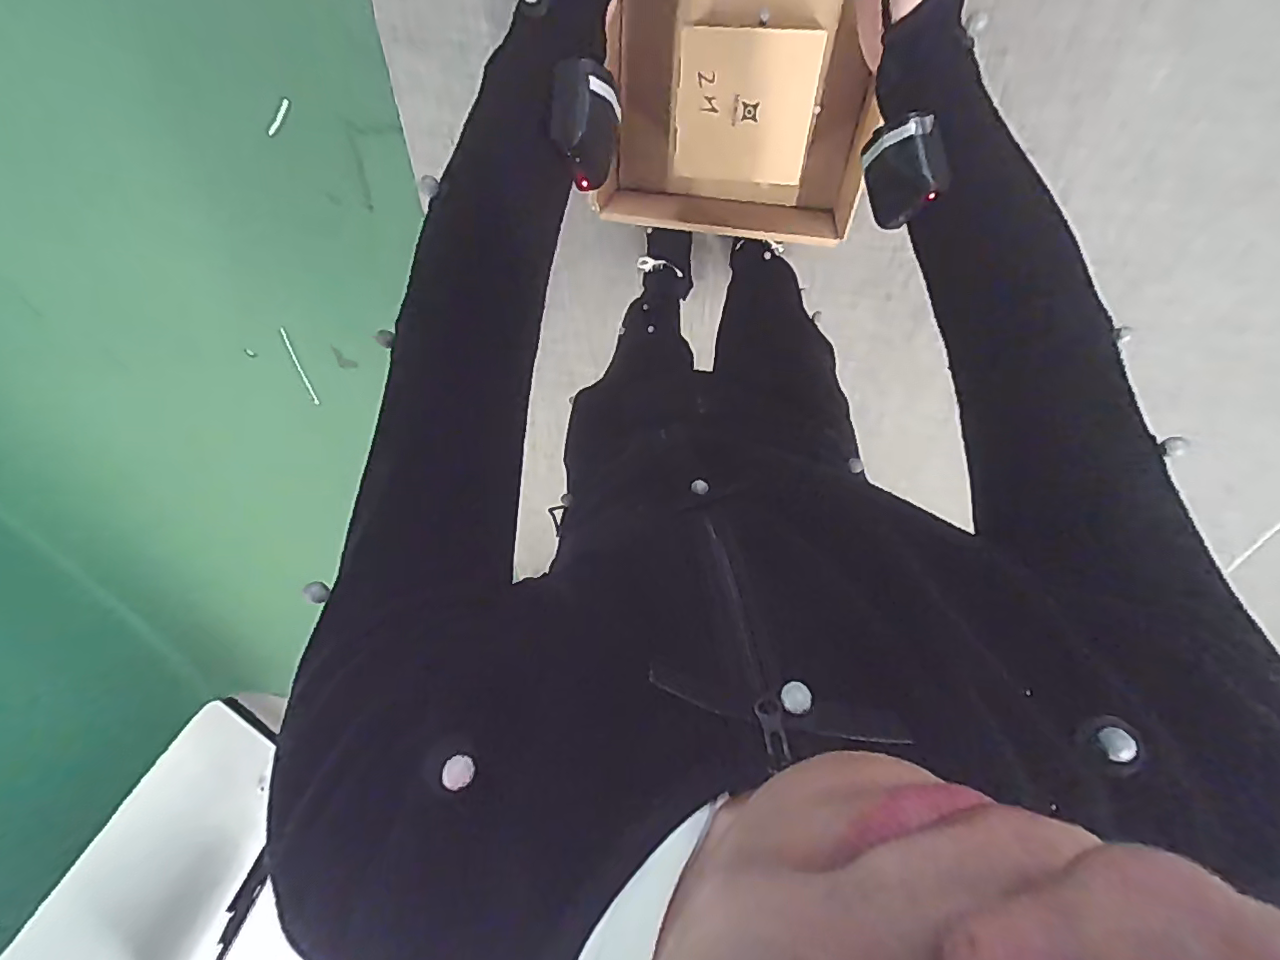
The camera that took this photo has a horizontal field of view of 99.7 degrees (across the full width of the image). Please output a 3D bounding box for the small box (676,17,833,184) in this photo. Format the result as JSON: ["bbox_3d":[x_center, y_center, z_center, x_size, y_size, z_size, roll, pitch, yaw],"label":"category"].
[{"bbox_3d":[0.151,-0.528,0.749,0.179,0.176,0.168,8,132,6],"label":"small box"}]
